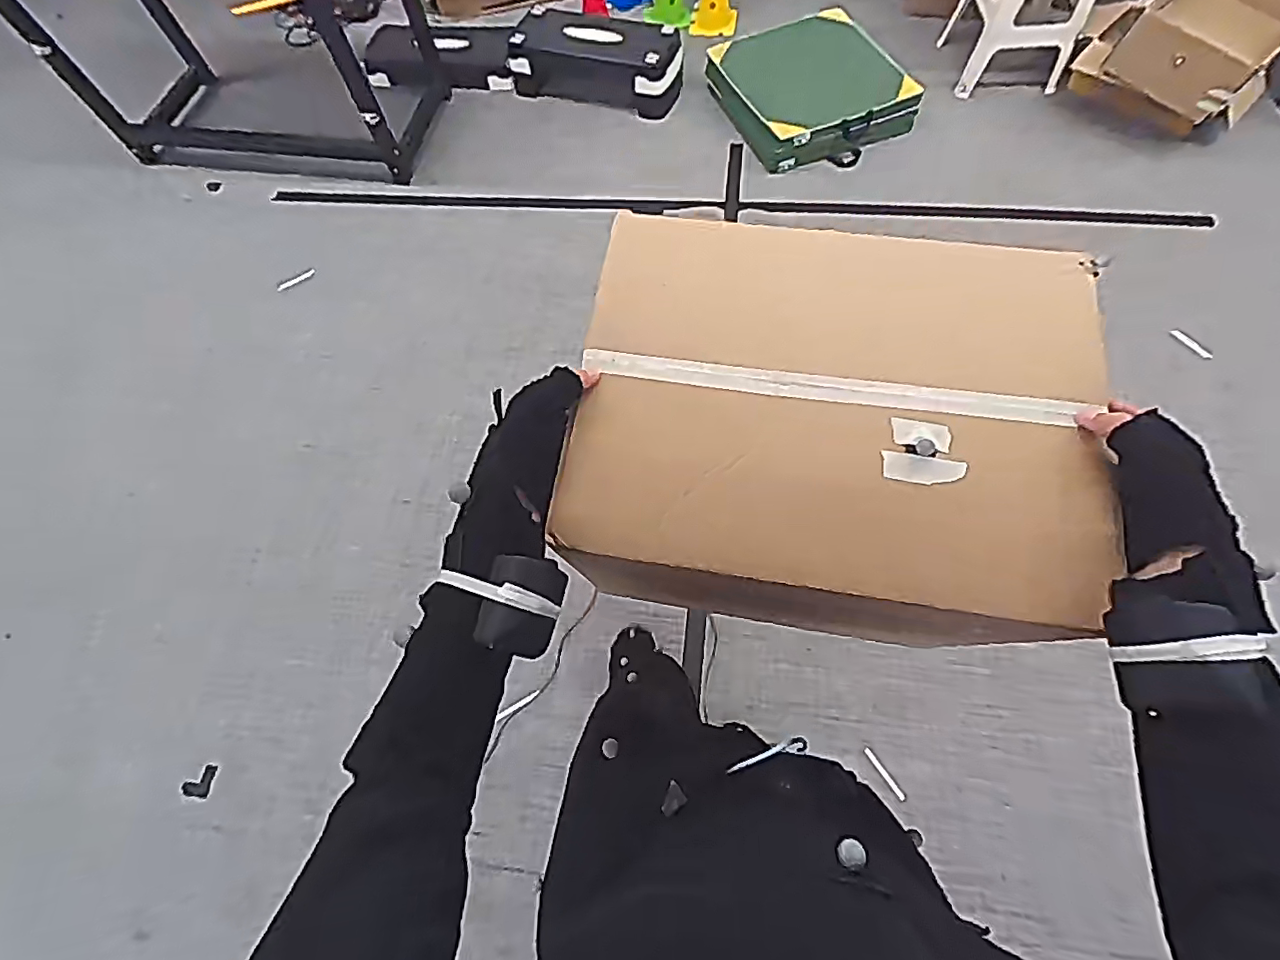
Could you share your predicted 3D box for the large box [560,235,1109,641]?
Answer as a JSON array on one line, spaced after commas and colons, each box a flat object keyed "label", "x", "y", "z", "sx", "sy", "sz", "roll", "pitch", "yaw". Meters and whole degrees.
[{"label": "large box", "x": 0.160, "y": -0.016, "z": 0.580, "sx": 0.408, "sy": 0.320, "sz": 0.320, "roll": 8, "pitch": 73, "yaw": 5}]
